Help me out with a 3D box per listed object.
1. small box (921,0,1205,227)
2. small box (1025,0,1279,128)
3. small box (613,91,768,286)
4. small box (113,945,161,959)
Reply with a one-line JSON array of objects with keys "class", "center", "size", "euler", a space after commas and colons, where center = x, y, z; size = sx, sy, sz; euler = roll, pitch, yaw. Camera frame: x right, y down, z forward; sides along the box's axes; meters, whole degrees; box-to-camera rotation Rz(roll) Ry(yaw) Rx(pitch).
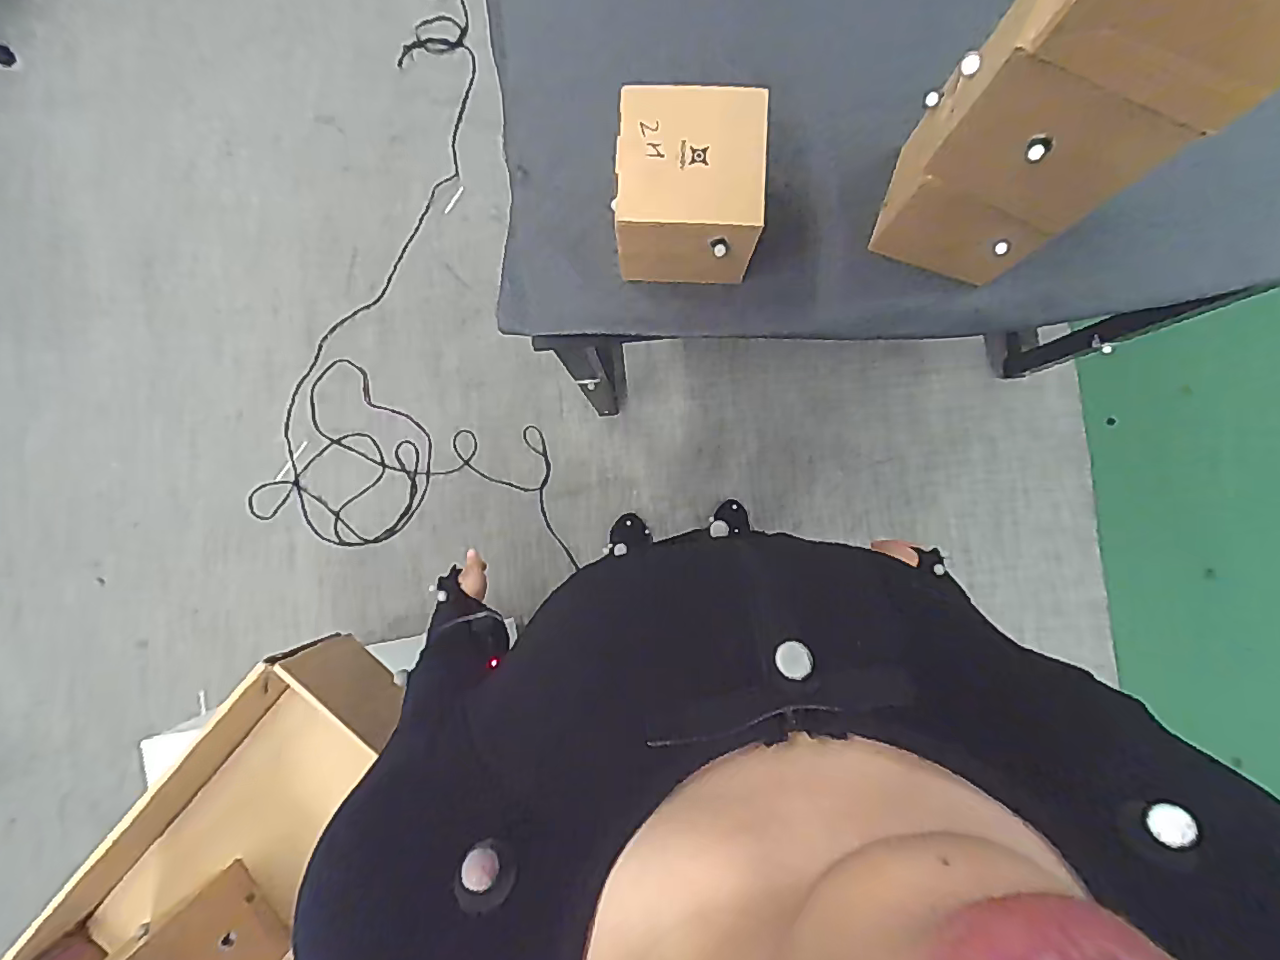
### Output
[{"class": "small box", "center": [0.424, -0.384, 0.532], "size": [0.179, 0.176, 0.168], "euler": [28, 88, 4]}, {"class": "small box", "center": [0.421, -0.392, 0.370], "size": [0.179, 0.176, 0.168], "euler": [27, 87, 3]}, {"class": "small box", "center": [0.061, -0.368, 0.710], "size": [0.179, 0.176, 0.168], "euler": [2, 88, 2]}, {"class": "small box", "center": [-0.665, 0.702, 0.612], "size": [0.179, 0.176, 0.168], "euler": [-33, 90, -1]}]
